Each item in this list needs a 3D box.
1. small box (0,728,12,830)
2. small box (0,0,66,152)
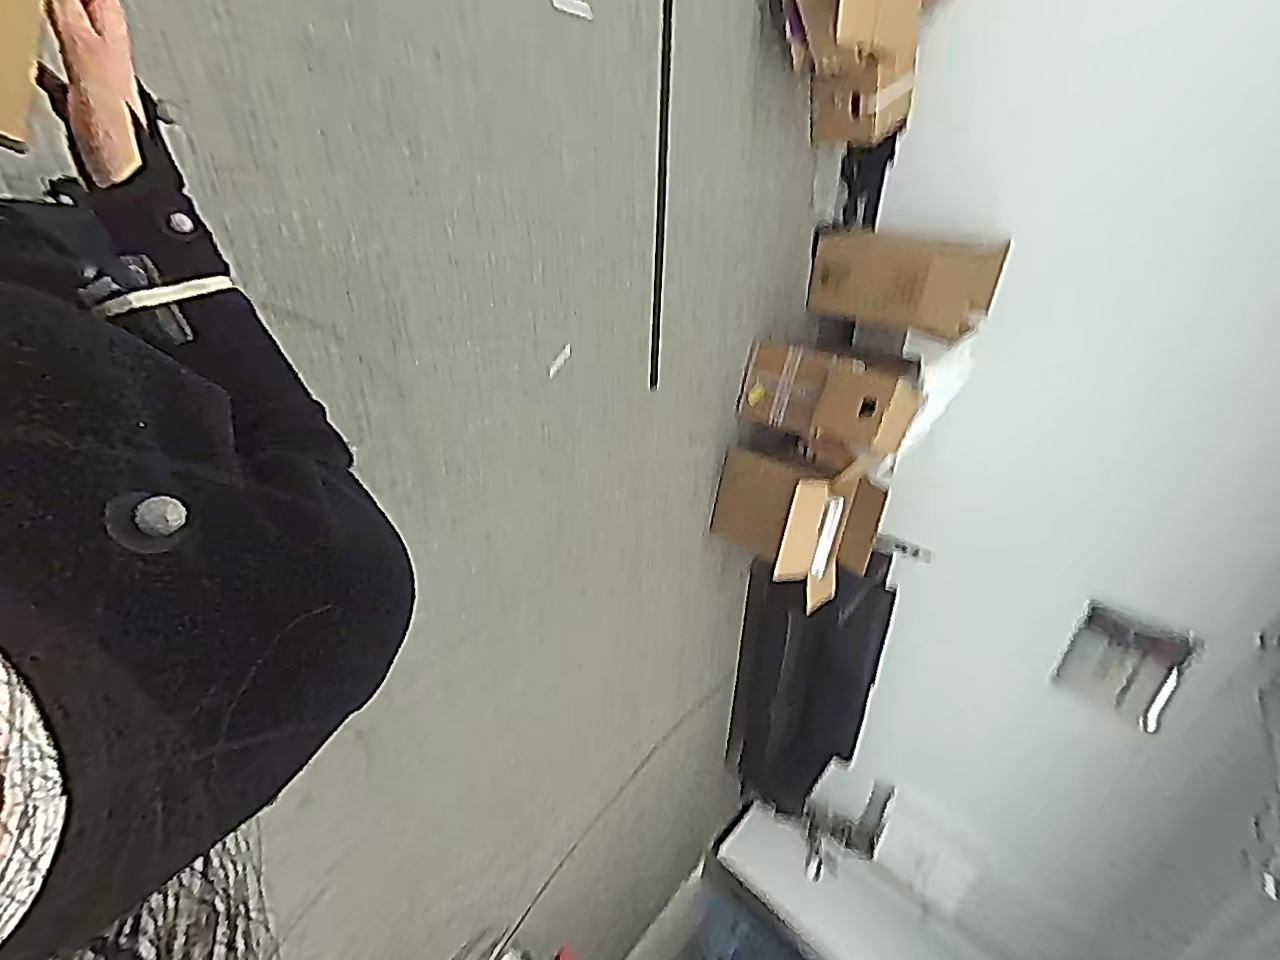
[{"bbox_3d":[-0.807,0.301,0.558,0.168,0.176,0.179,-22,124,-43],"label":"small box"},{"bbox_3d":[-0.395,-0.287,0.256,0.168,0.176,0.179,6,105,-50],"label":"small box"}]
